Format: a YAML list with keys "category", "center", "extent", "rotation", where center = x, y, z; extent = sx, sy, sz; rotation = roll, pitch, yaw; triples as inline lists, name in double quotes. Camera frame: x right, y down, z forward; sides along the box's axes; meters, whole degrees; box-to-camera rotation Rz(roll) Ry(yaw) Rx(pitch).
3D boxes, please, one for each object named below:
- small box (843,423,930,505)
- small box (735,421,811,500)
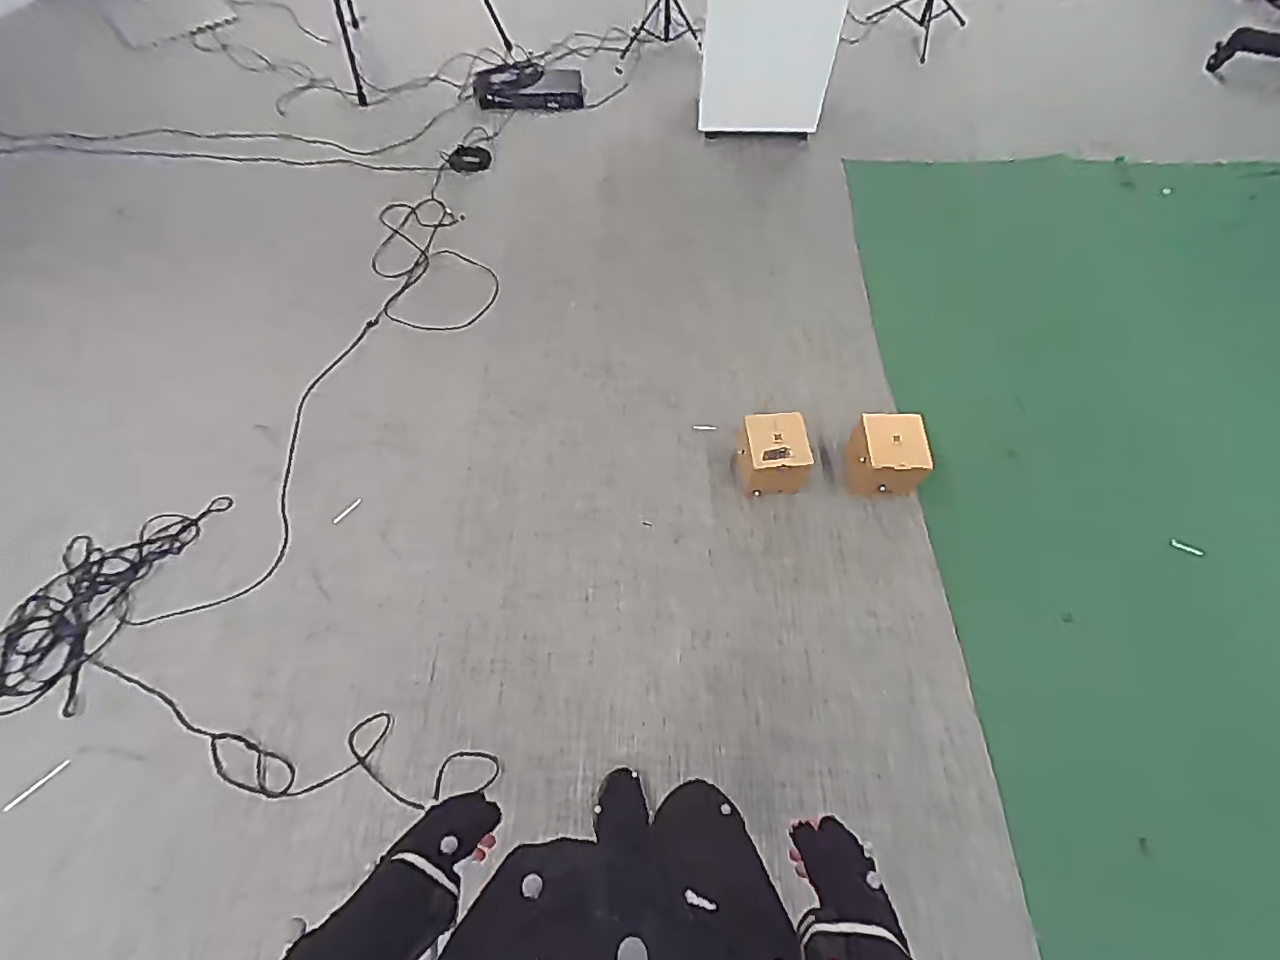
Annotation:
- category: "small box"
  center: [0.701, -0.045, 1.560]
  extent: [0.168, 0.176, 0.179]
  rotation: [1, 62, 2]
- category: "small box"
  center: [0.378, -0.048, 1.561]
  extent: [0.168, 0.176, 0.179]
  rotation: [-3, 61, -2]
